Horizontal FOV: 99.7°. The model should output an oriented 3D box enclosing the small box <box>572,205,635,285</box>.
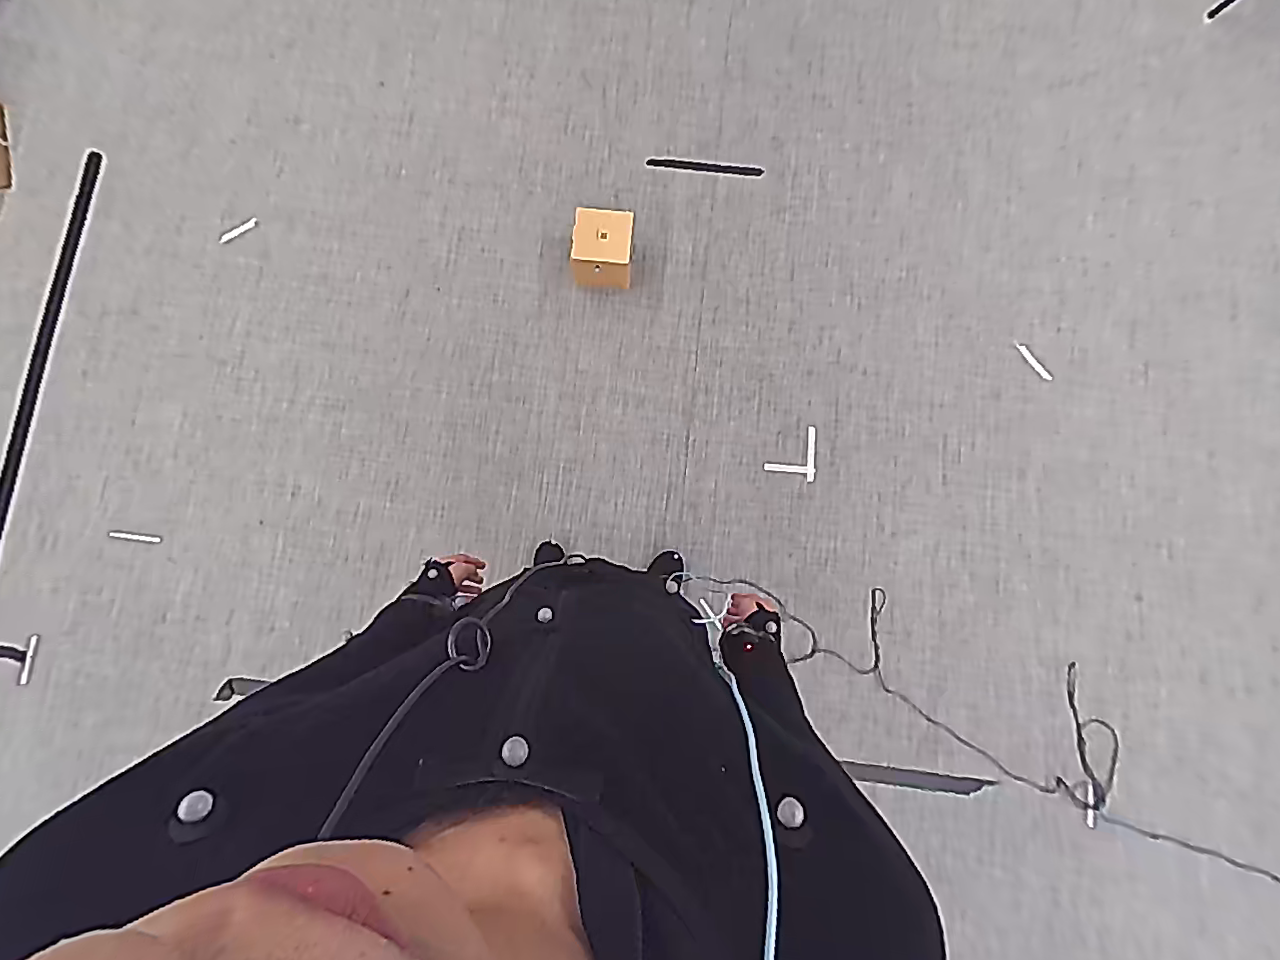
[{"bbox_3d":[-0.109,-0.725,1.683,0.179,0.176,0.168,5,84,1],"label":"small box"}]
